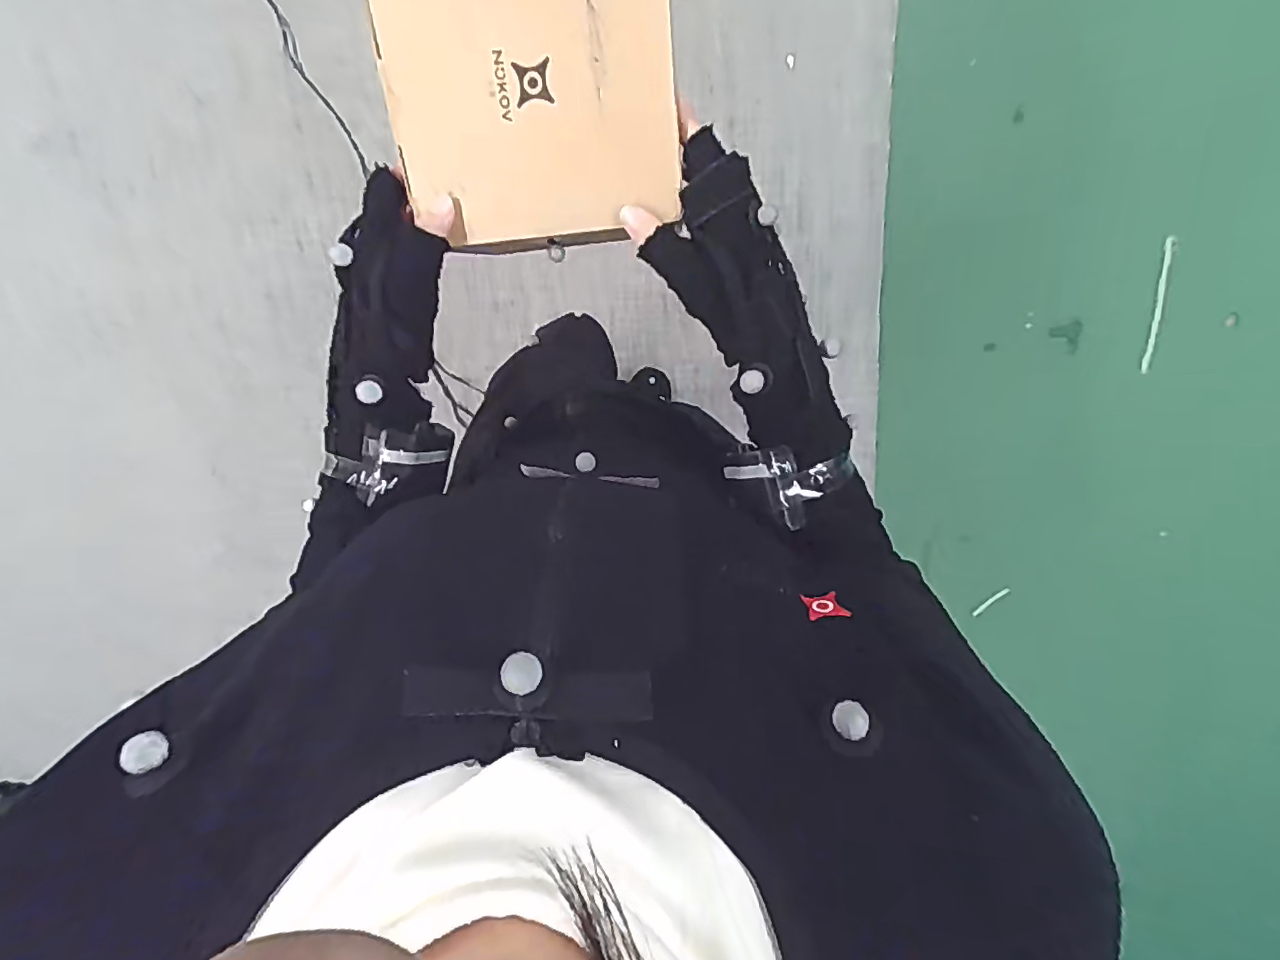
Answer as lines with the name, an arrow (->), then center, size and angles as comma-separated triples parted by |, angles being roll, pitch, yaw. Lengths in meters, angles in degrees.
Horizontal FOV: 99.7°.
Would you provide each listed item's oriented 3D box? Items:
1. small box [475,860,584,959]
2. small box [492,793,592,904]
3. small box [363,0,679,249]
small box -> -0.223, 0.936, 1.136 | 0.168, 0.176, 0.179 | -12, 104, 4
small box -> -0.226, 0.888, 1.292 | 0.179, 0.176, 0.168 | -14, 105, 6
small box -> -0.064, -0.265, 0.391 | 0.179, 0.176, 0.168 | -5, 112, 4
